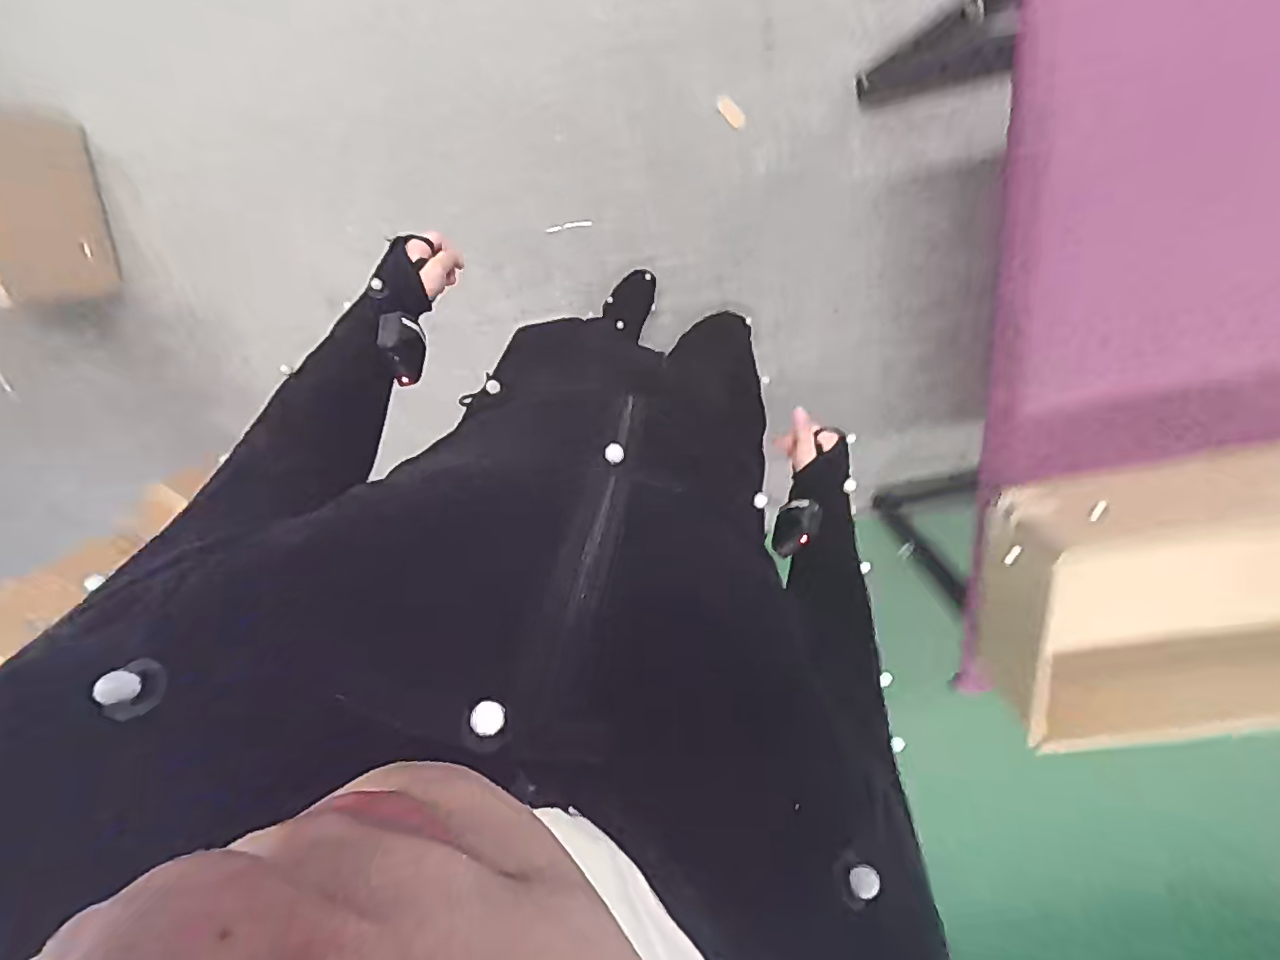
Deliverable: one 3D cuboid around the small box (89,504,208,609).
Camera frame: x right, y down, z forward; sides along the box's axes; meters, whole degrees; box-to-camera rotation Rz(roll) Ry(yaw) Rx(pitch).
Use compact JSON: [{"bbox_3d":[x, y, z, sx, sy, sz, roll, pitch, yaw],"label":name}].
[{"bbox_3d":[-1.260,0.182,1.362,0.168,0.176,0.179,-40,108,16],"label":"small box"}]
